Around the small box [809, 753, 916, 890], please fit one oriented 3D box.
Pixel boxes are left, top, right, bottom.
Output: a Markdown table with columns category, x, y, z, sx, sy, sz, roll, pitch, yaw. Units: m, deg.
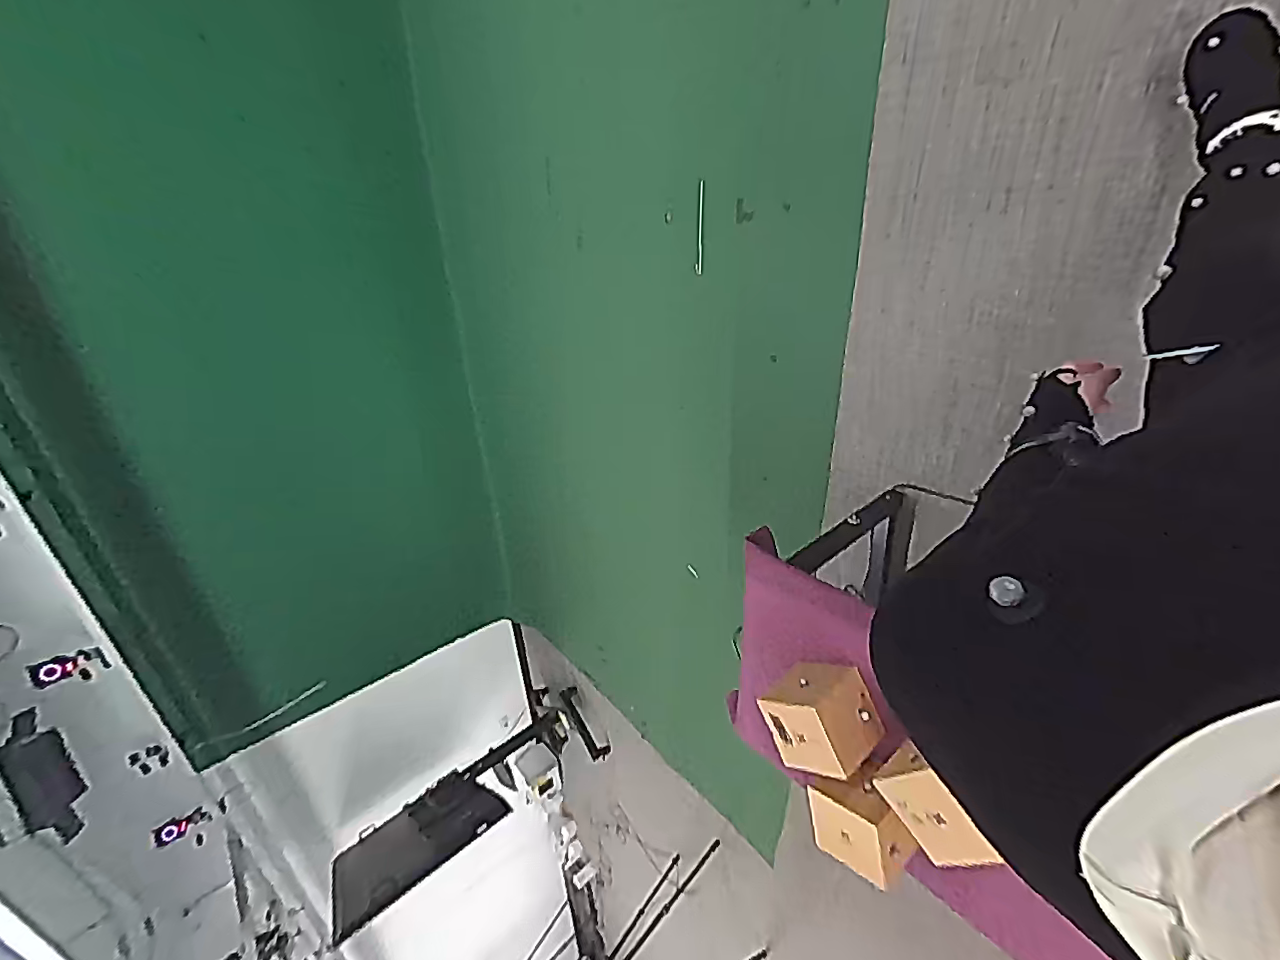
| category | x | y | z | sx | sy | sz | roll | pitch | yaw |
| --- | --- | --- | --- | --- | --- | --- | --- | --- | --- |
| small box | 0.505 | 0.743 | 1.210 | 0.168 | 0.176 | 0.179 | 5 | 113 | 51 |

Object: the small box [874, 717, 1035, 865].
| category | x | y | z | sx | sy | sz | roll | pitch | yaw |
| --- | --- | --- | --- | --- | --- | --- | --- | --- | --- |
| small box | 0.583 | 0.569 | 0.997 | 0.168 | 0.176 | 0.179 | 53 | 143 | 20 |

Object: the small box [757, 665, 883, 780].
| category | x | y | z | sx | sy | sz | roll | pitch | yaw |
| --- | --- | --- | --- | --- | --- | --- | --- | --- | --- |
| small box | 0.405 | 0.532 | 1.216 | 0.179 | 0.176 | 0.168 | -25 | 89 | 54 |
